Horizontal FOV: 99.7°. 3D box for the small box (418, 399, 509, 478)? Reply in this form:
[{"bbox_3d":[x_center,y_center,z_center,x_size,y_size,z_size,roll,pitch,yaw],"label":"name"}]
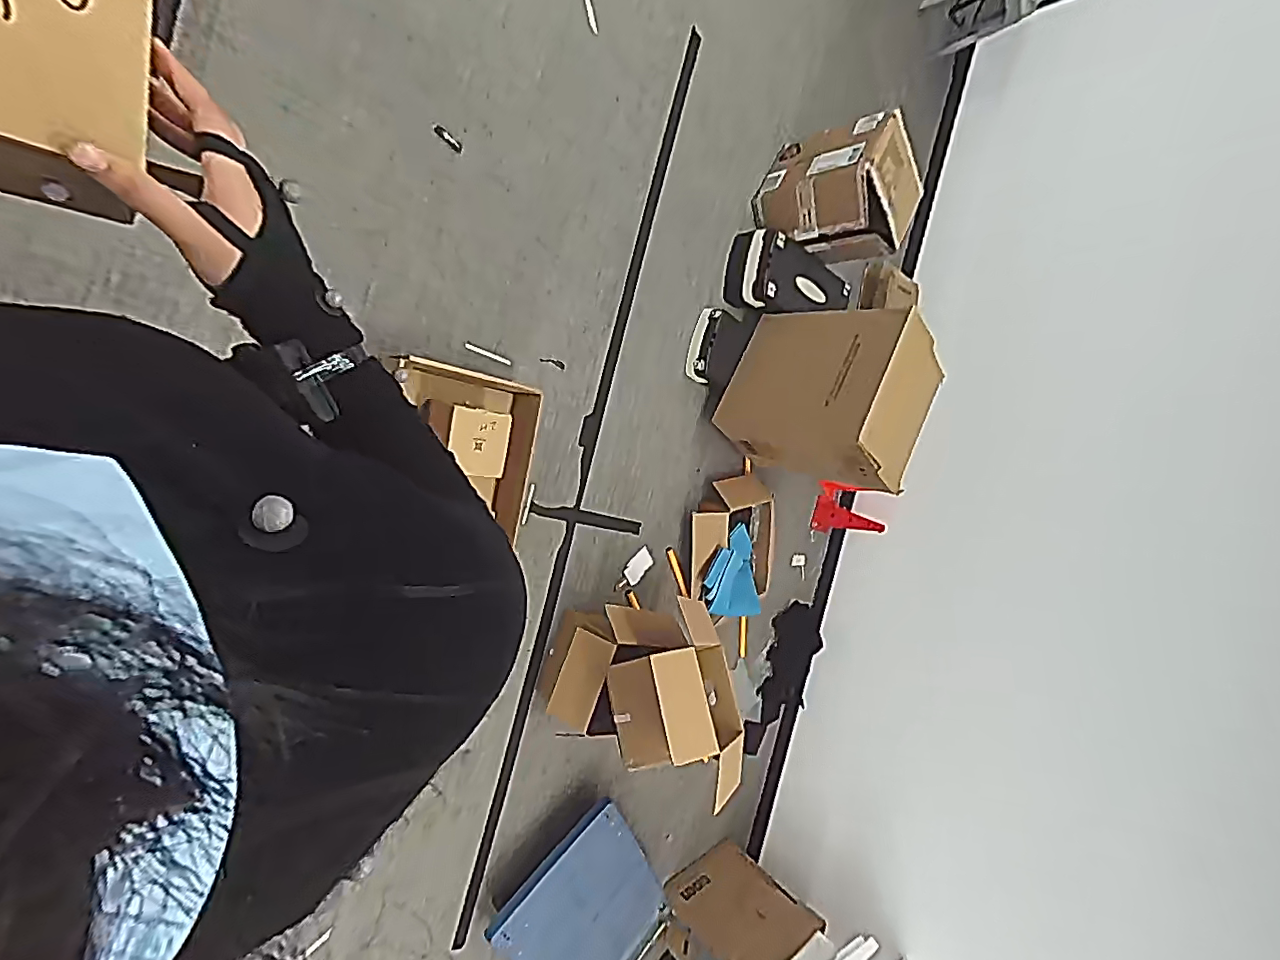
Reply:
[{"bbox_3d":[-0.479,-0.111,1.450,0.168,0.176,0.179,6,97,-45],"label":"small box"}]
